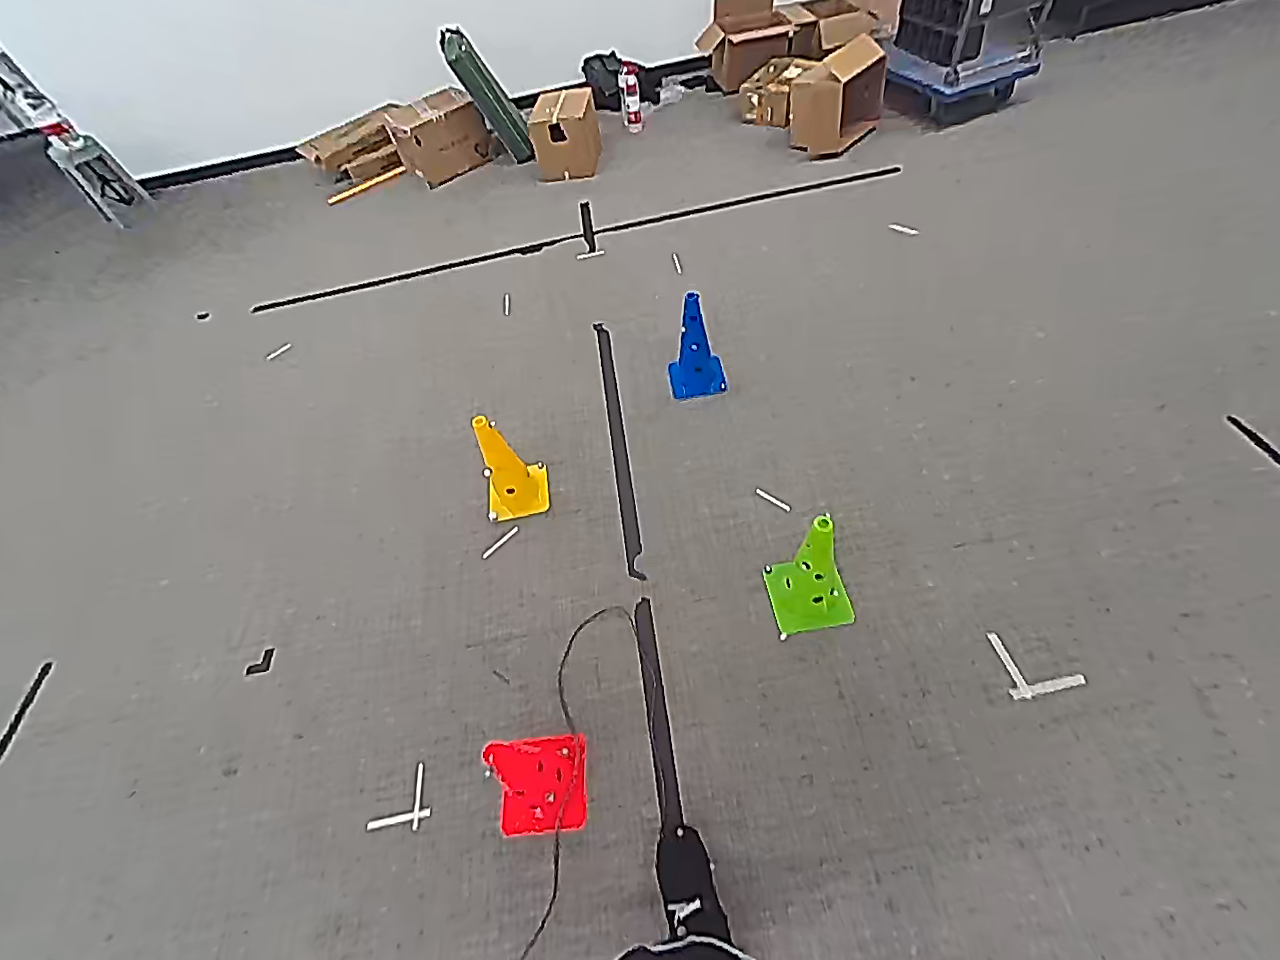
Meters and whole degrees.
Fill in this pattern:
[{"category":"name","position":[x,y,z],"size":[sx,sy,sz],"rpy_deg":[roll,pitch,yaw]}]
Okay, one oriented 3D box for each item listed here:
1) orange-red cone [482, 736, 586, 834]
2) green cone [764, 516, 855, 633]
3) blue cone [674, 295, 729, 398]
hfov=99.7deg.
[{"category":"orange-red cone","position":[-0.253,0.608,1.140],"size":[0.199,0.360,0.198],"rpy_deg":[-8,51,5]},{"category":"green cone","position":[0.431,0.205,1.321],"size":[0.202,0.368,0.200],"rpy_deg":[-10,52,1]},{"category":"blue cone","position":[0.206,-0.478,1.894],"size":[0.192,0.380,0.193],"rpy_deg":[-7,53,3]}]
